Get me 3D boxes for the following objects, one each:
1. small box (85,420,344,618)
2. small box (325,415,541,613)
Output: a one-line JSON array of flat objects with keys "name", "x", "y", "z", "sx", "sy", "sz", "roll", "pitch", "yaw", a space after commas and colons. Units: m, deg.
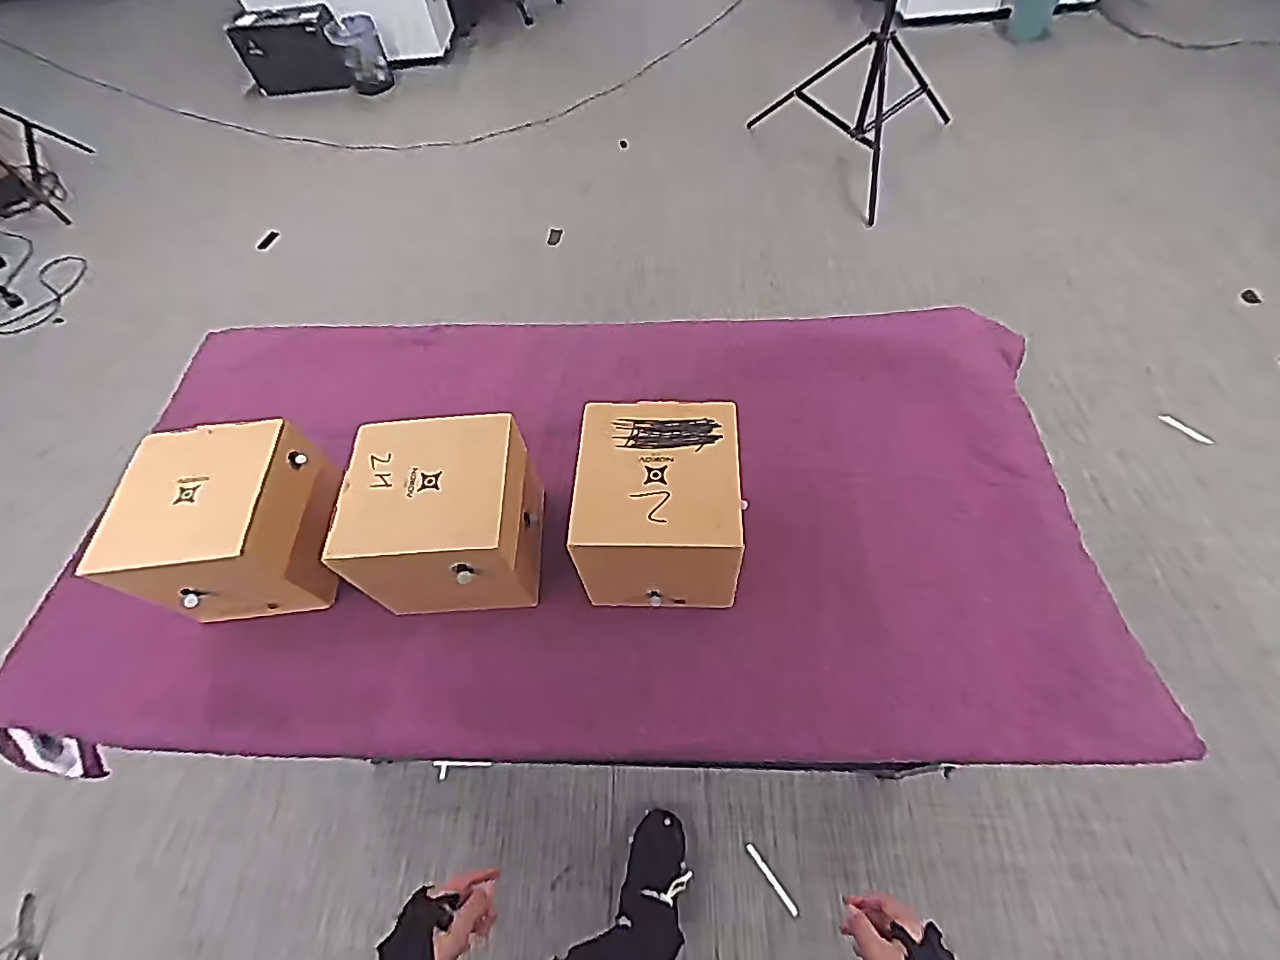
[{"name": "small box", "x": -0.472, "y": 0.055, "z": 0.645, "sx": 0.168, "sy": 0.176, "sz": 0.179, "roll": -7, "pitch": 57, "yaw": 0}, {"name": "small box", "x": -0.217, "y": 0.045, "z": 0.626, "sx": 0.179, "sy": 0.176, "sz": 0.168, "roll": -5, "pitch": 57, "yaw": 1}]
